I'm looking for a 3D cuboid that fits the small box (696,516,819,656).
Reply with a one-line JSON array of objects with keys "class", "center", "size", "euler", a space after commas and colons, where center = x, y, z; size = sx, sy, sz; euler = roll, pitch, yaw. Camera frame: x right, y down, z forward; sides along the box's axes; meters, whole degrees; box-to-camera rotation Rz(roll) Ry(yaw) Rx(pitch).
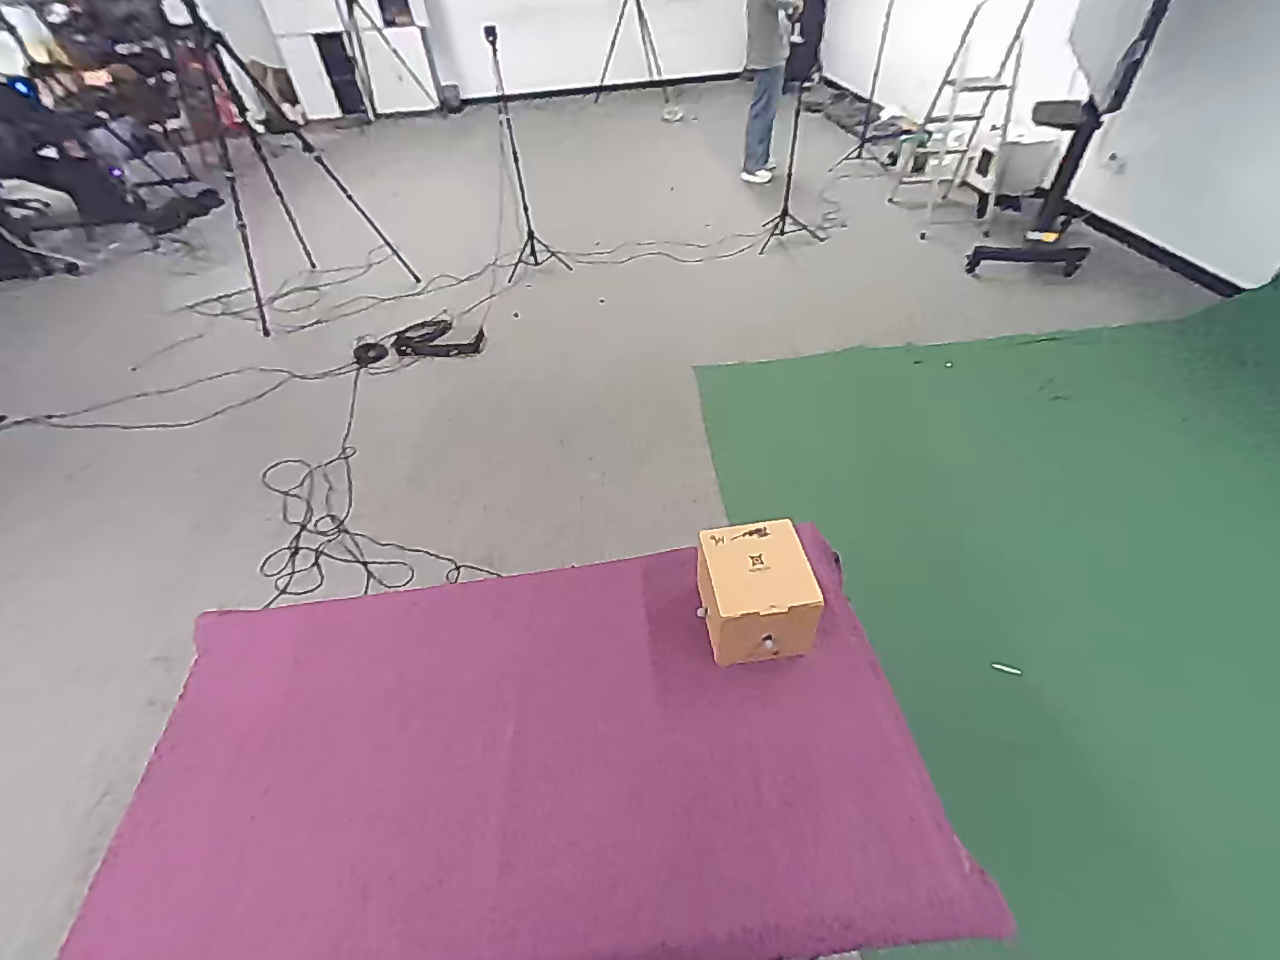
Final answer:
[{"class": "small box", "center": [0.195, 0.191, 0.946], "size": [0.168, 0.176, 0.179], "euler": [-8, 46, -2]}]
